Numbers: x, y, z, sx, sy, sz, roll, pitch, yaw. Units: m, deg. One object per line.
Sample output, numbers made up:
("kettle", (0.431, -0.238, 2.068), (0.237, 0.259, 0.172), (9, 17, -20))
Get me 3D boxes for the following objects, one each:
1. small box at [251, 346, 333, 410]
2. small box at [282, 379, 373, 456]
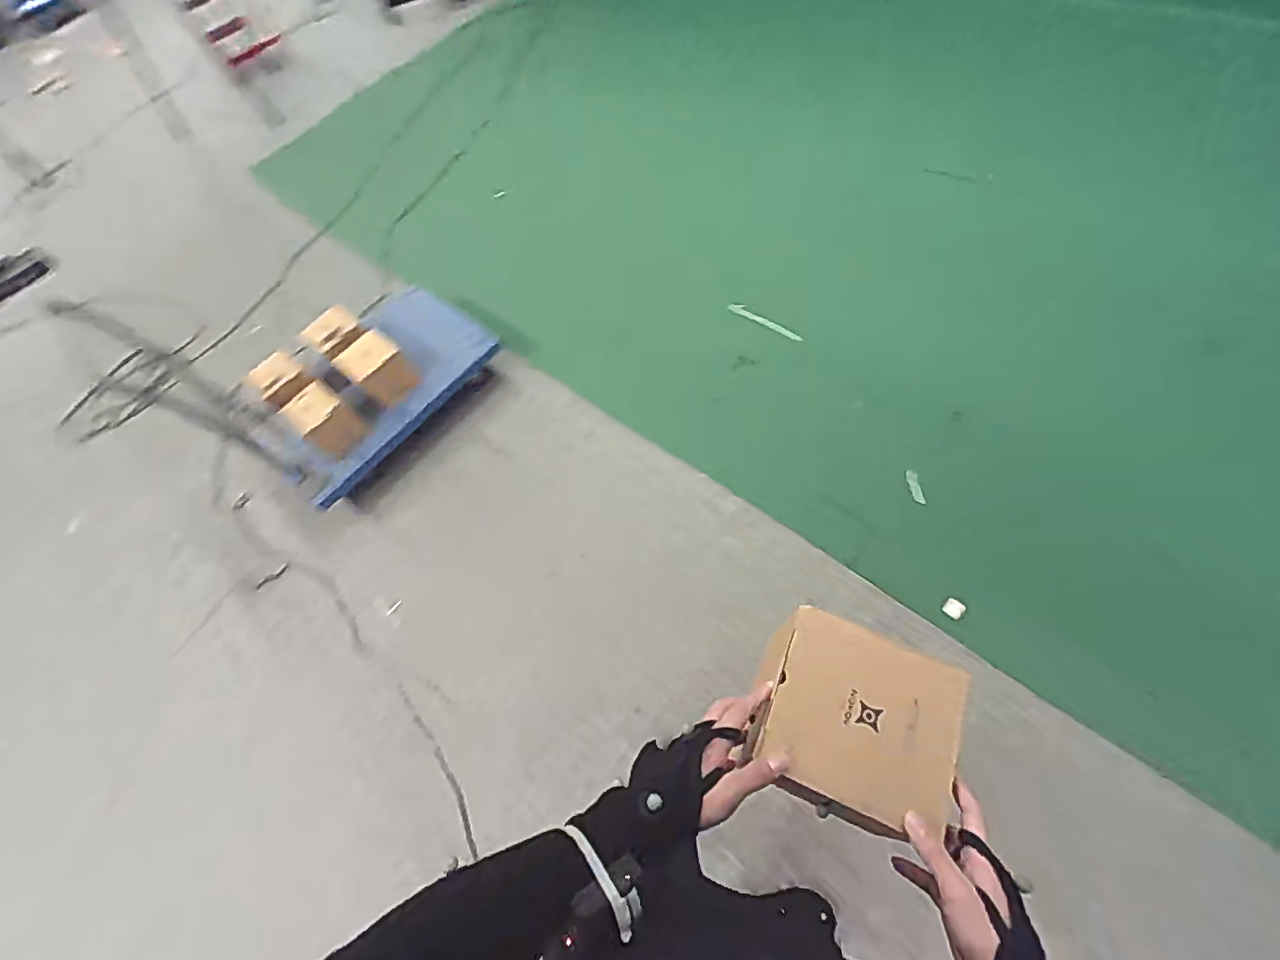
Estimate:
("small box", (-1.251, -0.343, 1.963), (0.179, 0.176, 0.168), (38, 75, 27))
("small box", (-1.059, -0.205, 1.848), (0.179, 0.176, 0.168), (34, 73, 25))
